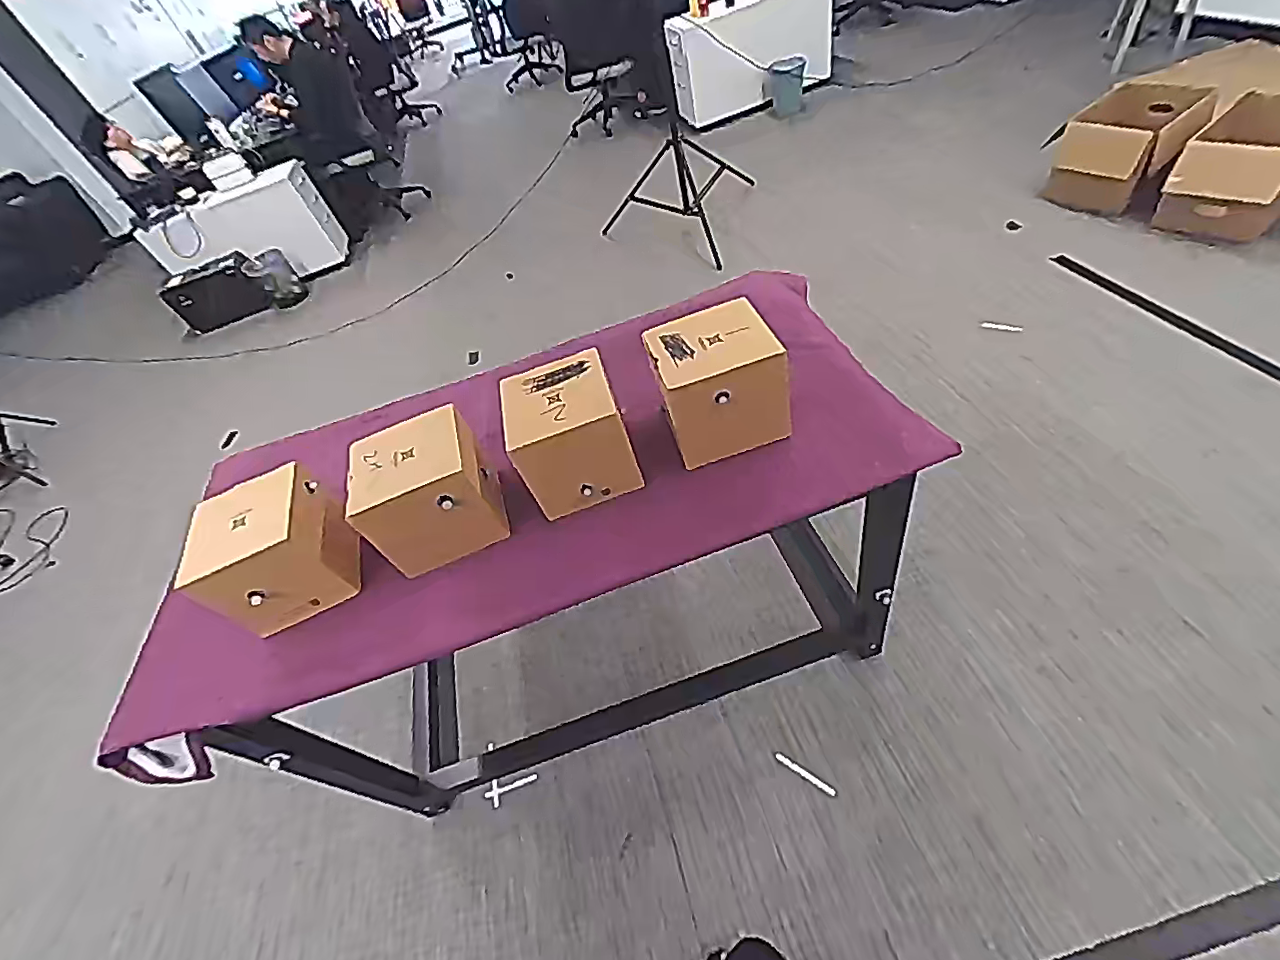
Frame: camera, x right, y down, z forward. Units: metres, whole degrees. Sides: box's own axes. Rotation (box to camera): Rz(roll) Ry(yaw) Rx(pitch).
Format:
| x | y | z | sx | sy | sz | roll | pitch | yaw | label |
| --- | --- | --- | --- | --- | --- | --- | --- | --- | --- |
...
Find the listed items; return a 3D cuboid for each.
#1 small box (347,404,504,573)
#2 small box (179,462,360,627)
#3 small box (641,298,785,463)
| x | y | z | sx | sy | sz | roll | pitch | yaw | label |
| --- | --- | --- | --- | --- | --- | --- | --- | --- | --- |
| -0.331 | 0.016 | 0.861 | 0.179 | 0.176 | 0.168 | -23 | 47 | -2 | small box |
| -0.570 | 0.111 | 0.860 | 0.168 | 0.176 | 0.179 | -26 | 47 | -5 | small box |
| 0.118 | -0.153 | 0.860 | 0.179 | 0.176 | 0.168 | -18 | 46 | 1 | small box |
